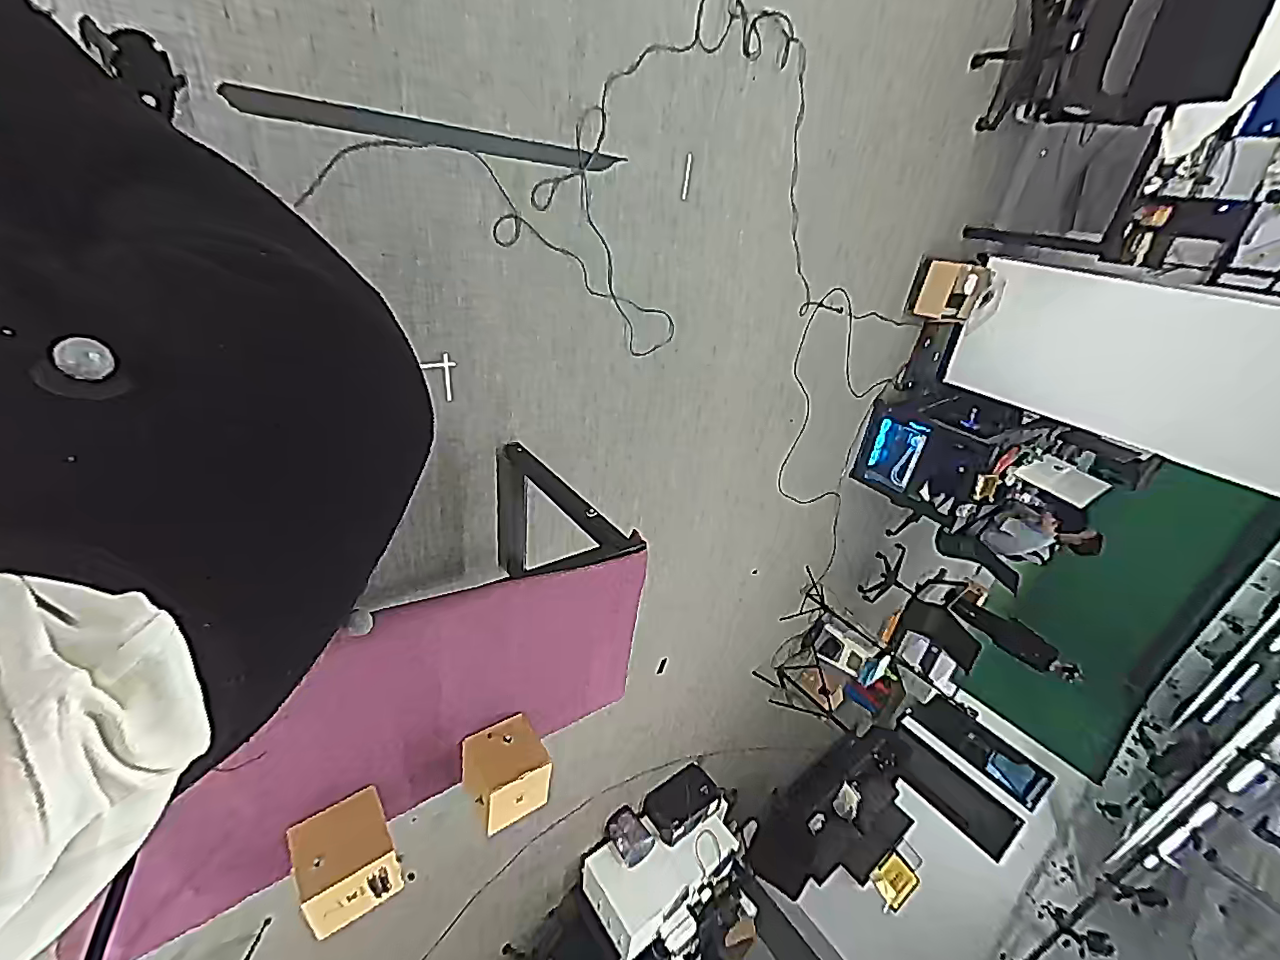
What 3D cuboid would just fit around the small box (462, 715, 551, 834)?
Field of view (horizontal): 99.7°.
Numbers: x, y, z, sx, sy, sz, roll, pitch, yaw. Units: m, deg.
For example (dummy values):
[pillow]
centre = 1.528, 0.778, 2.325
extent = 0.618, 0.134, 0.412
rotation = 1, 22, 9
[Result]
[small box]
centre = -0.347, 0.749, 1.391
extent = 0.168, 0.176, 0.179
rotation = -12, 124, -36
